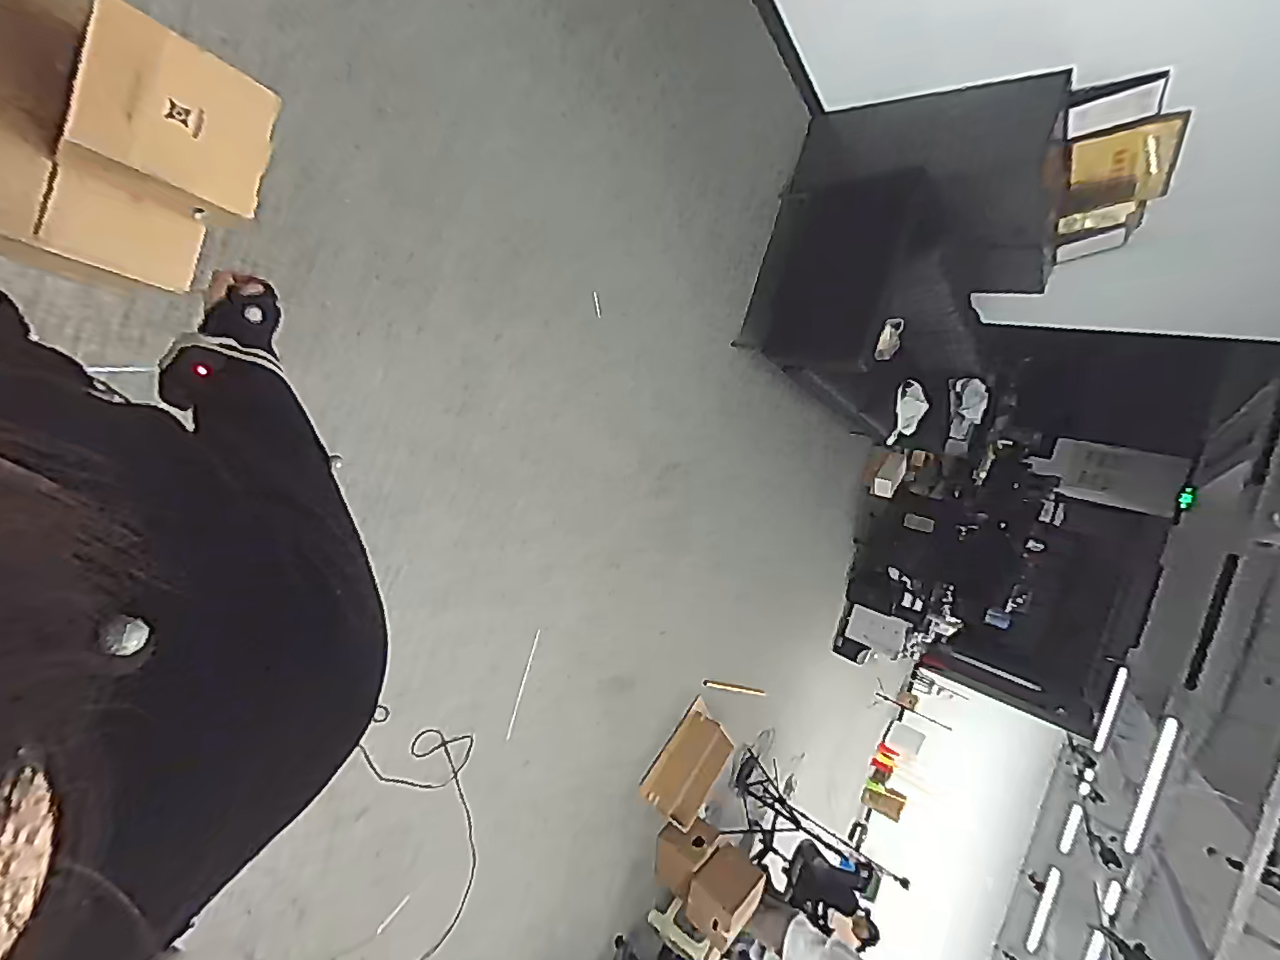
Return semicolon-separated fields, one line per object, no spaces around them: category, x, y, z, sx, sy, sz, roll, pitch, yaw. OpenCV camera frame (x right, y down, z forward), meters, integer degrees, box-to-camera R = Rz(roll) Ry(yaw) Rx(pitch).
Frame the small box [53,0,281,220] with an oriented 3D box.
small box;-0.601;-0.453;0.689;0.179;0.176;0.168;14;93;-51
